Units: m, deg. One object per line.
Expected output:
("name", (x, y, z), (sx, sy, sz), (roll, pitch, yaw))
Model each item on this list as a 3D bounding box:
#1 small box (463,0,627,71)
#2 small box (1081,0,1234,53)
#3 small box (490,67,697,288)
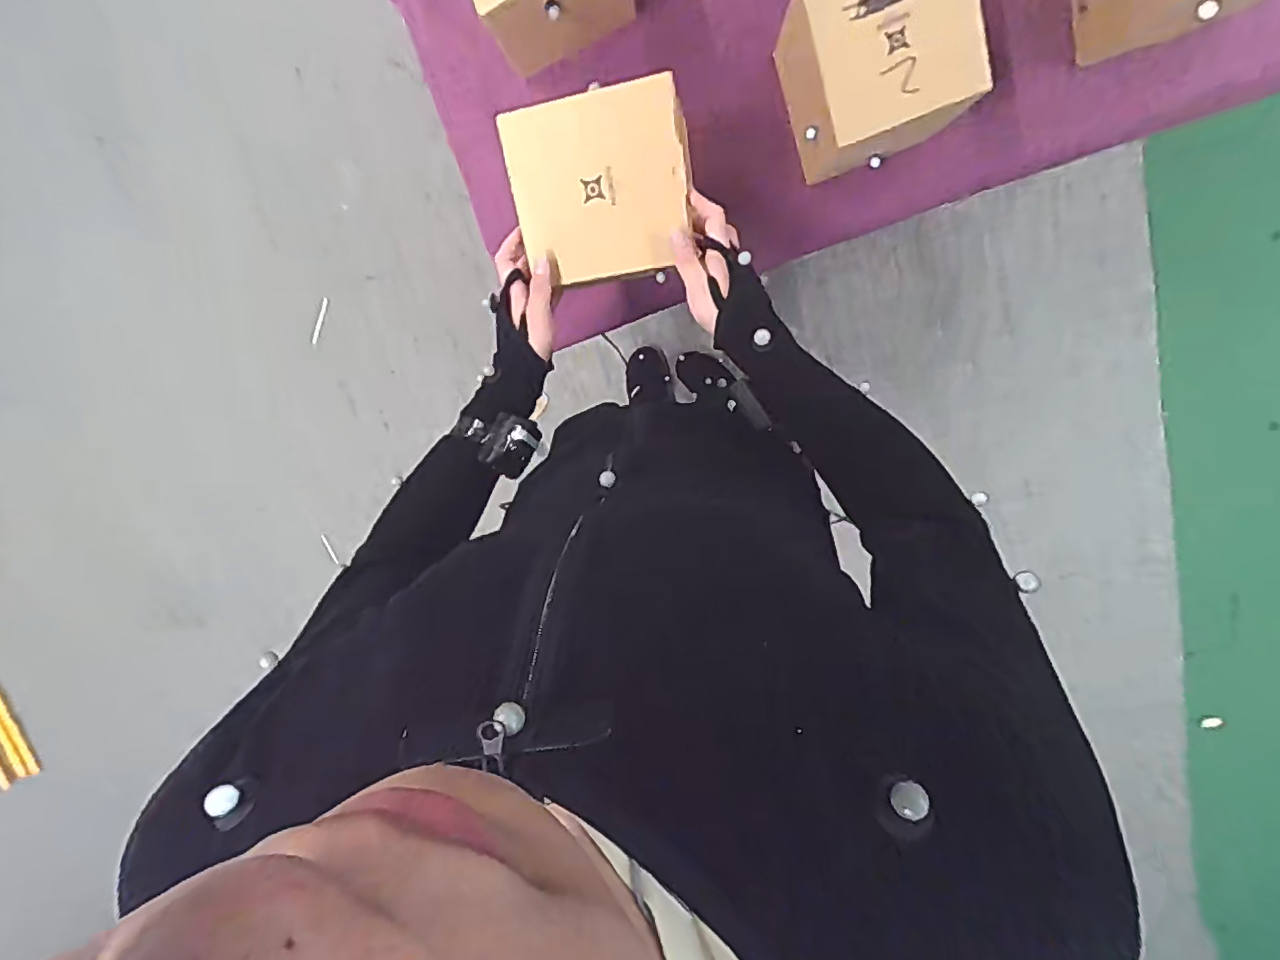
("small box", (-0.128, -0.628, 0.629), (0.179, 0.176, 0.168), (-20, 104, 10))
("small box", (0.605, -0.605, 0.573), (0.179, 0.176, 0.168), (-15, 104, 10))
("small box", (-0.036, -0.311, 0.598), (0.179, 0.176, 0.168), (-7, 109, 11))
